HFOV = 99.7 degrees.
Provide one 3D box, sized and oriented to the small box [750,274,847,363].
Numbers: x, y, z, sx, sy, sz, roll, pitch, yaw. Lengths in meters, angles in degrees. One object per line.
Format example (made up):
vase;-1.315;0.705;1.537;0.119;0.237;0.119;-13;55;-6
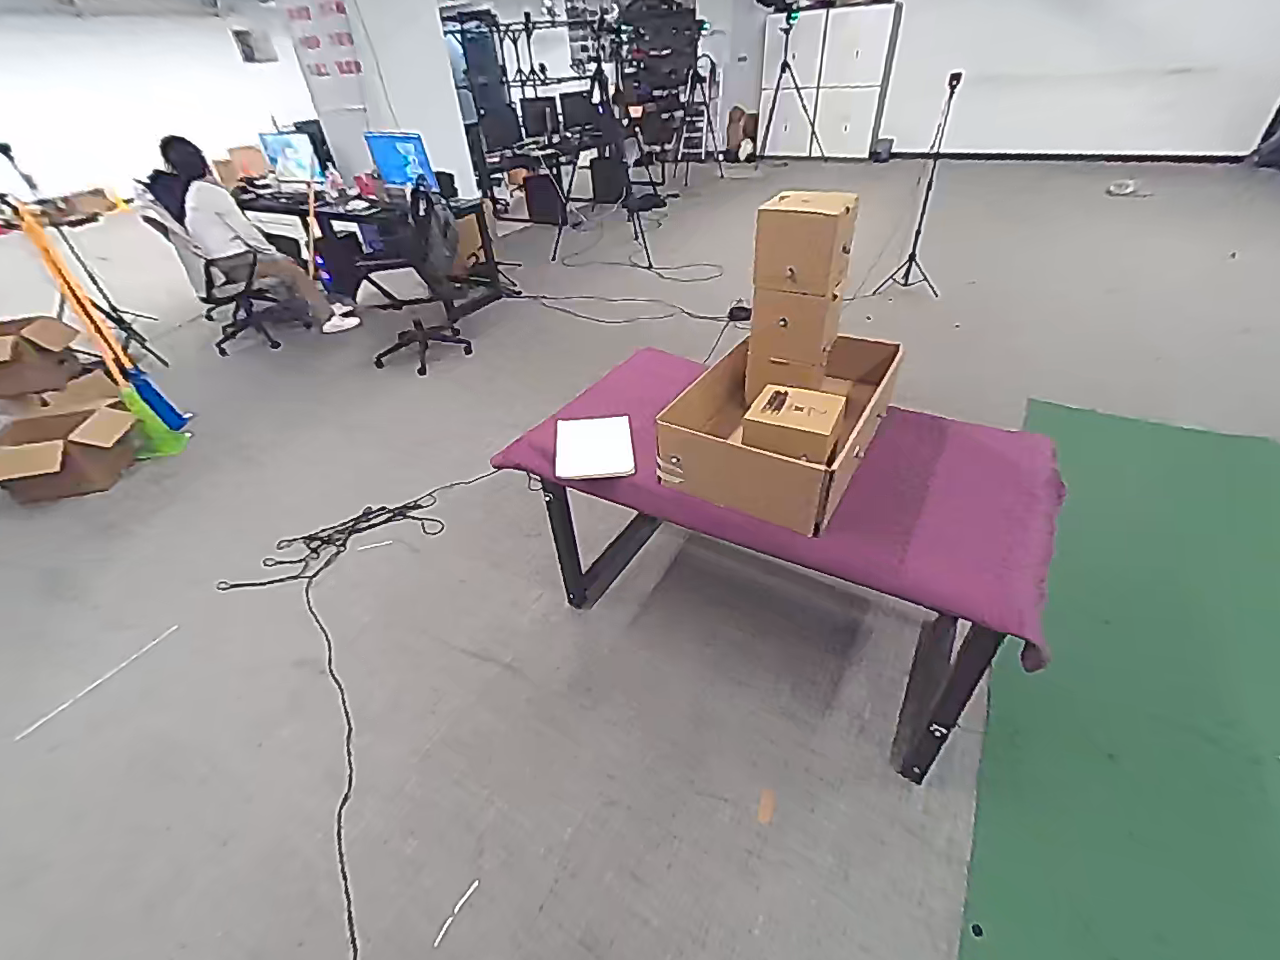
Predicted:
small box;0.381;-0.400;1.314;0.179;0.176;0.168;17;44;25

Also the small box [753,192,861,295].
small box;0.370;-0.530;1.214;0.179;0.176;0.168;20;45;26
